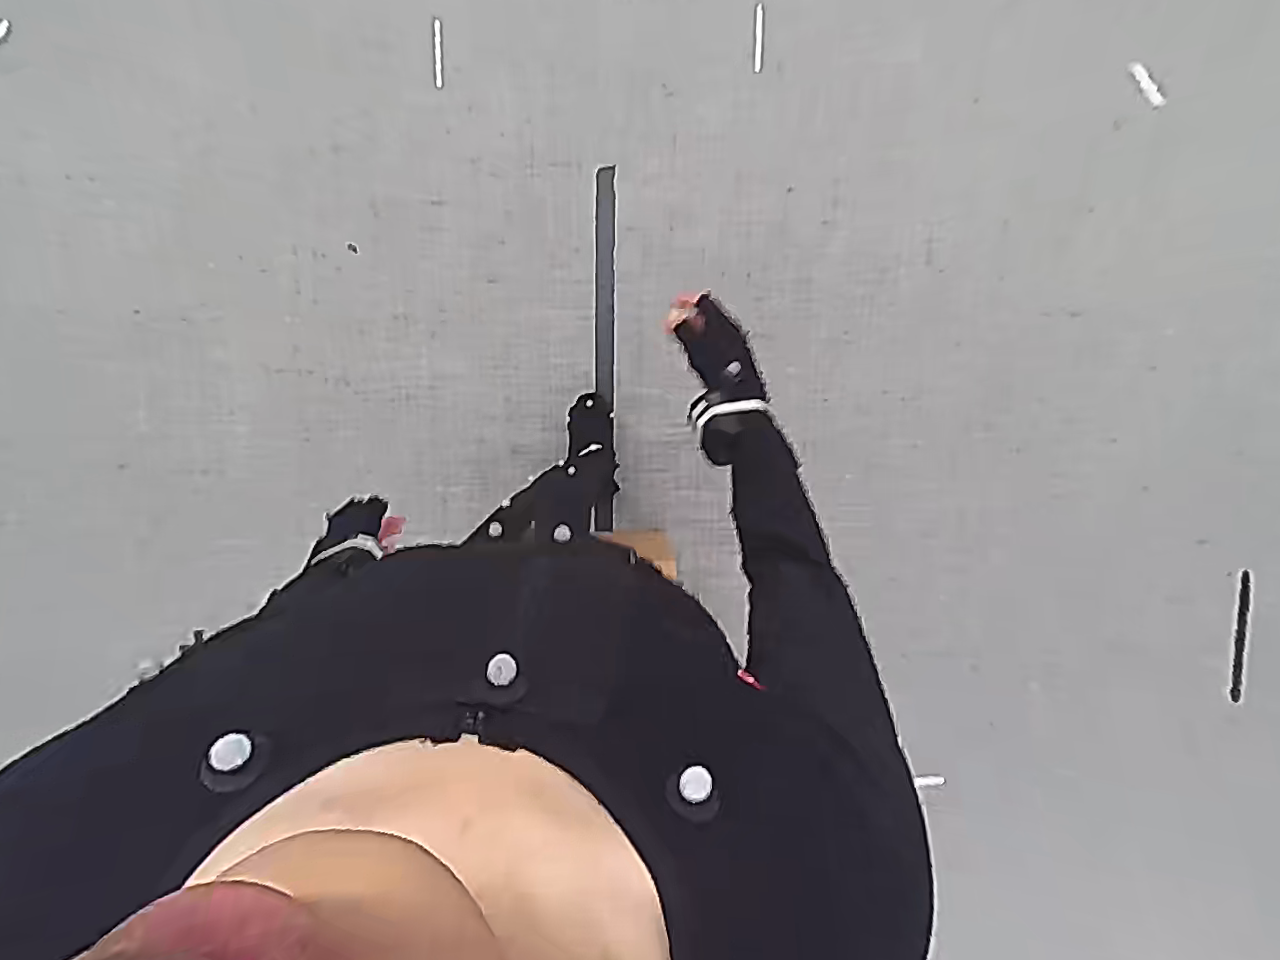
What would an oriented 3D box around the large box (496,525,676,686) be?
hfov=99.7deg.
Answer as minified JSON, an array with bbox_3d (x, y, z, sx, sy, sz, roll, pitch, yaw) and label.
[{"bbox_3d":[-0.119,0.296,1.357,0.408,0.320,0.320,0,96,-1],"label":"large box"}]
